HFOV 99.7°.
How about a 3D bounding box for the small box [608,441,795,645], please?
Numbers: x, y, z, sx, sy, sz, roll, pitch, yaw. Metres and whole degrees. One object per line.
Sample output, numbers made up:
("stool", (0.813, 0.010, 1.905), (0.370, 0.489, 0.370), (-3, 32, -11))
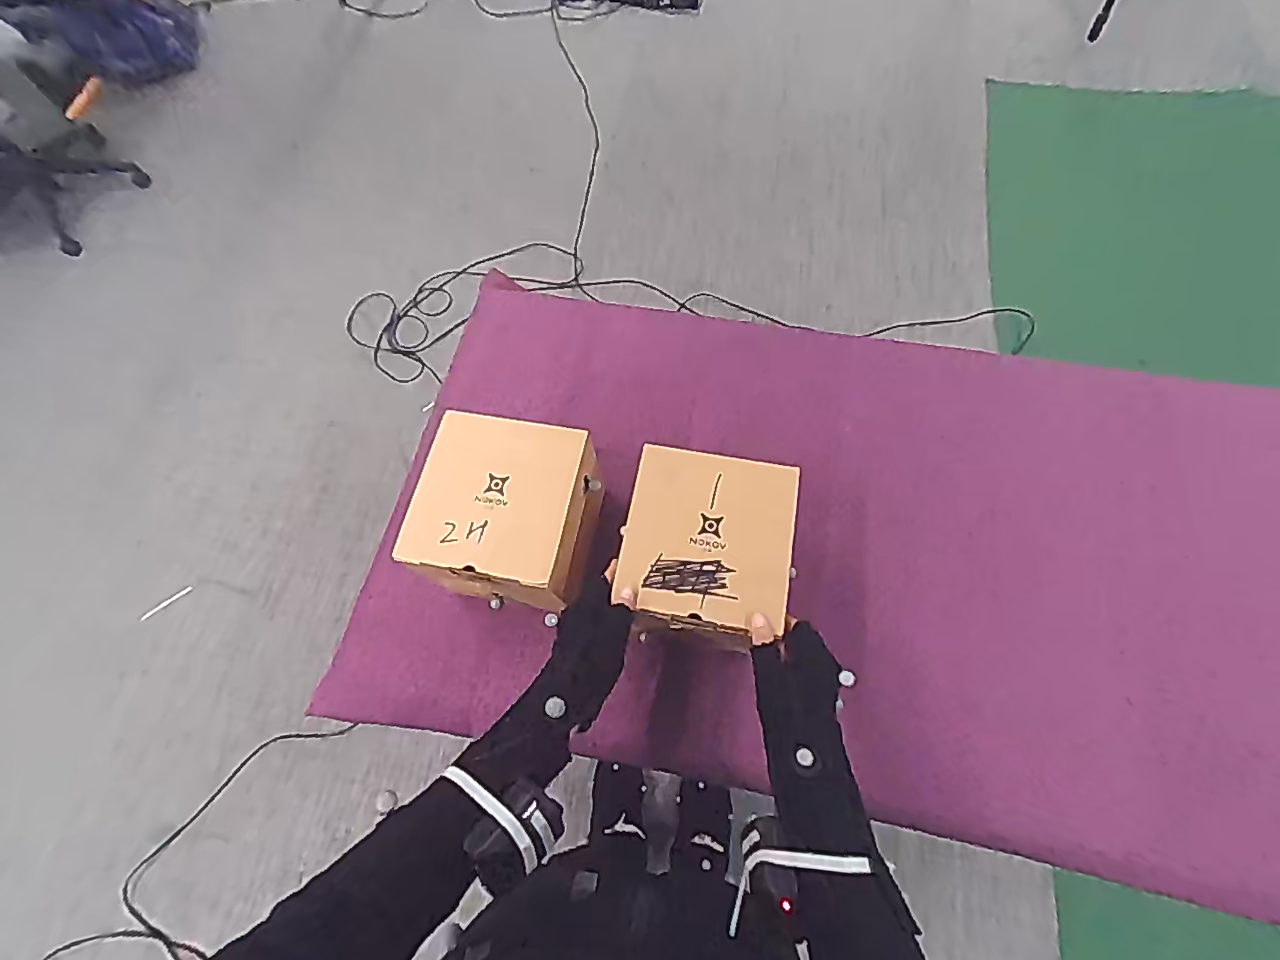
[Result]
("small box", (0.070, 0.080, 0.613), (0.168, 0.176, 0.179), (10, 67, 7))

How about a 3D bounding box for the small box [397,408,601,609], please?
("small box", (-0.147, 0.040, 0.641), (0.168, 0.176, 0.179), (9, 68, 7))
